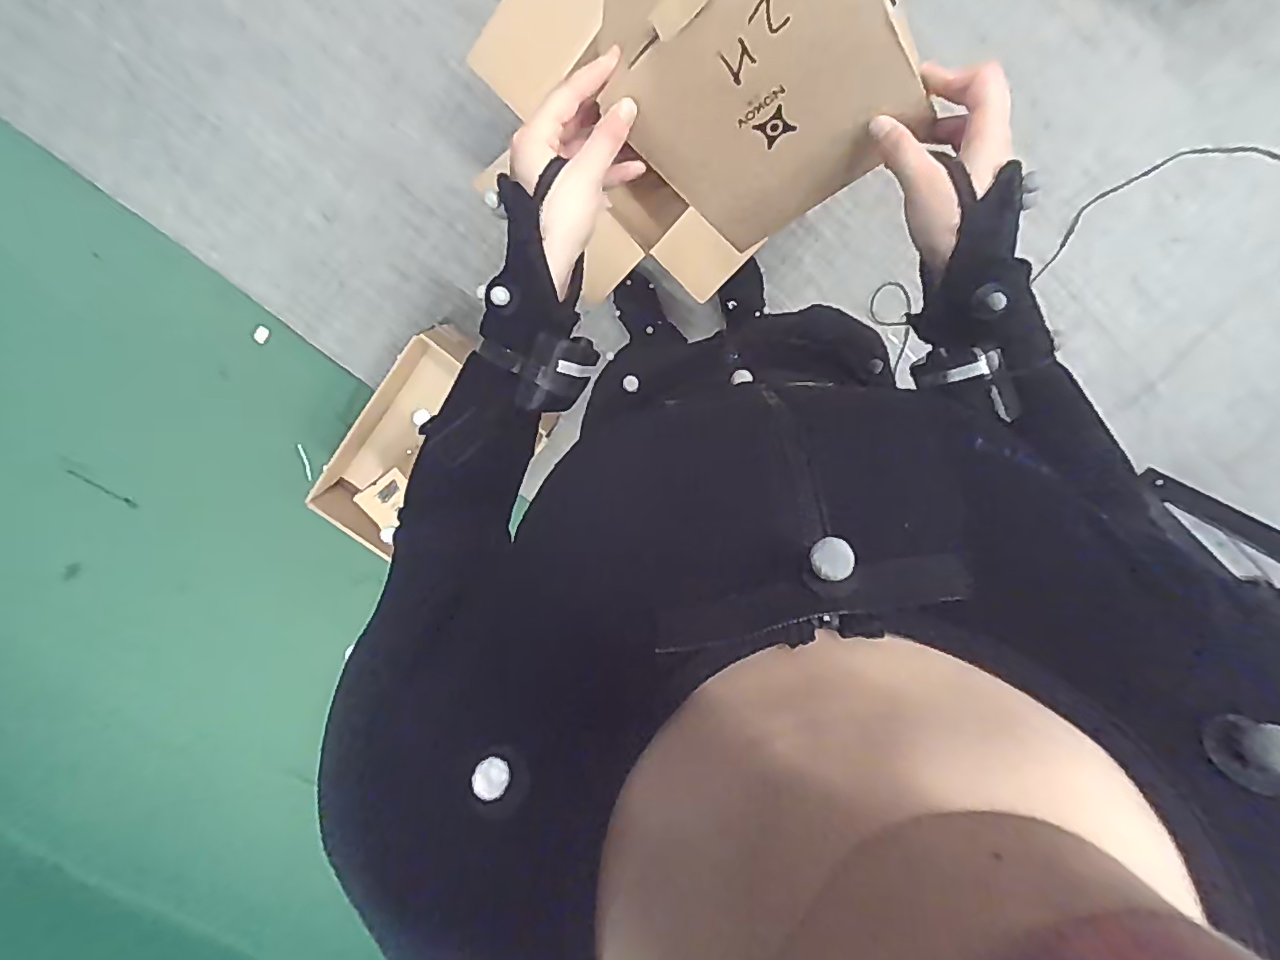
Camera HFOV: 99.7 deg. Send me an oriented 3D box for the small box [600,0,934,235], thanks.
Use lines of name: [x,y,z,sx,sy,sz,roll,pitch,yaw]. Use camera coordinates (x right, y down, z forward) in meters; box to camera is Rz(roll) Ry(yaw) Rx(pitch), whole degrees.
small box: [0.090,-0.335,0.400,0.168,0.176,0.179,-21,148,39]

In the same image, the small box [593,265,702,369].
small box: [0.022,-0.384,1.289,0.176,0.168,0.179,20,91,-35]

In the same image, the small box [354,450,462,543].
small box: [-0.629,0.035,1.487,0.168,0.176,0.179,-31,108,16]
